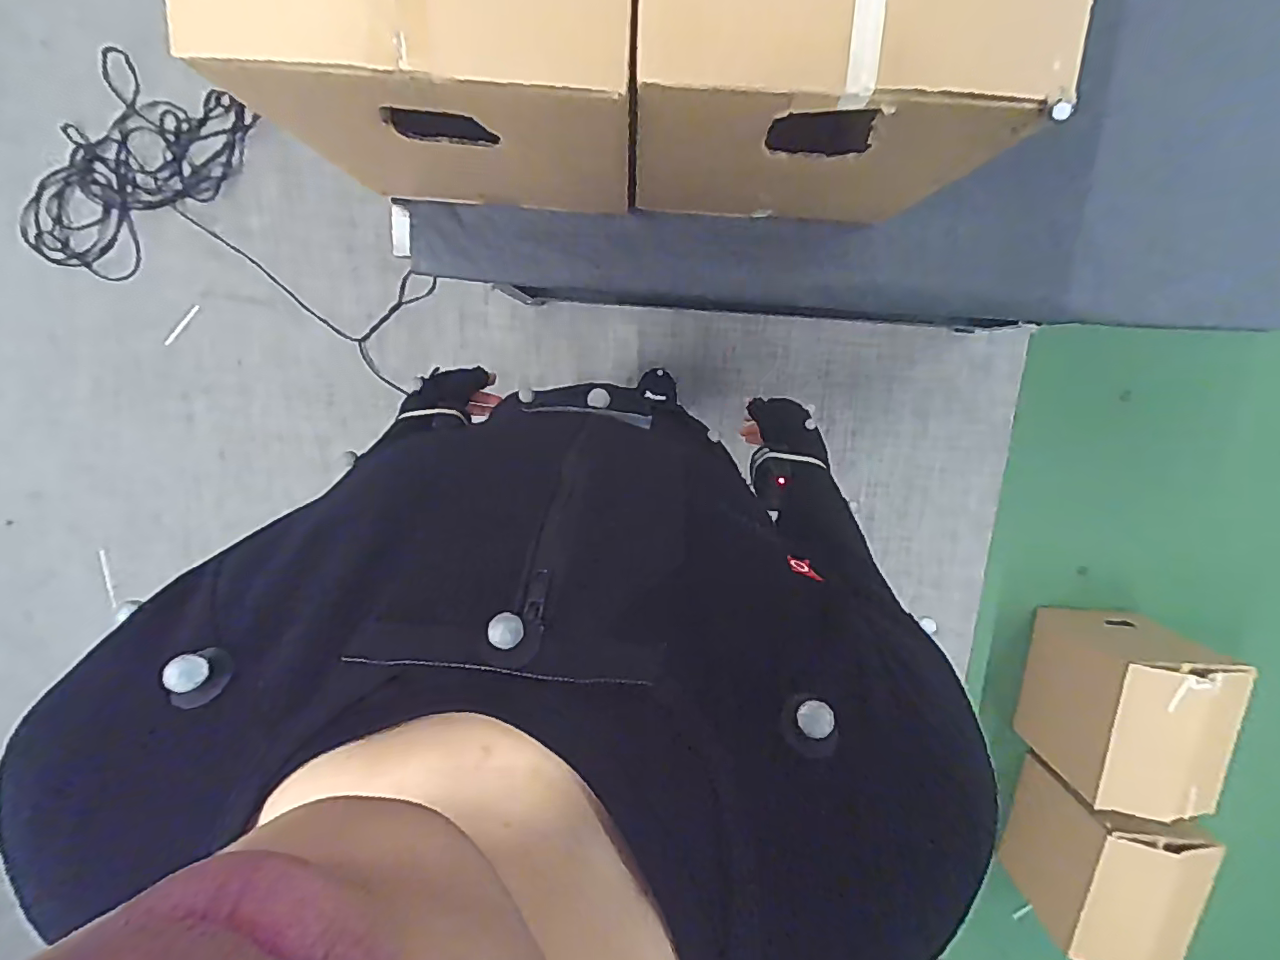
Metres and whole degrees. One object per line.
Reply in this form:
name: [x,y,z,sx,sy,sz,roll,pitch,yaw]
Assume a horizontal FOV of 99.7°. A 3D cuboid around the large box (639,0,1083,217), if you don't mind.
large box: [0.159,-0.497,0.490,0.320,0.320,0.408,2,103,0]
